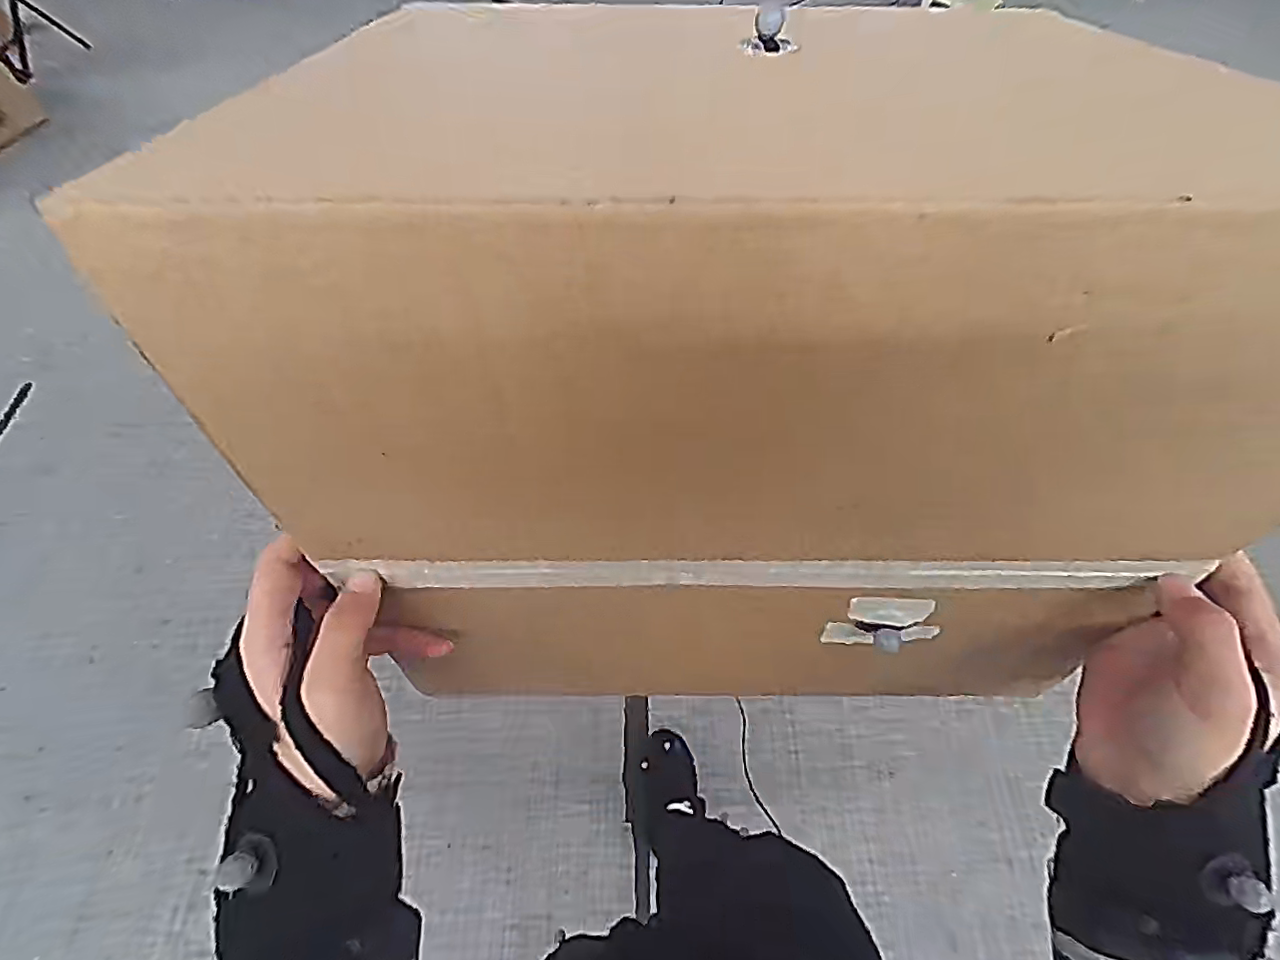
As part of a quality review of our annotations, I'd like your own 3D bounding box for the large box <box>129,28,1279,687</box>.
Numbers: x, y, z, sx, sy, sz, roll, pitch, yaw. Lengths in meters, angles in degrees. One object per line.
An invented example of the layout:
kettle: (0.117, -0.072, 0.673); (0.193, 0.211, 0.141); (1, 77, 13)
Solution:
large box: (0.052, -0.075, 0.357); (0.408, 0.320, 0.320); (-1, 49, 0)
